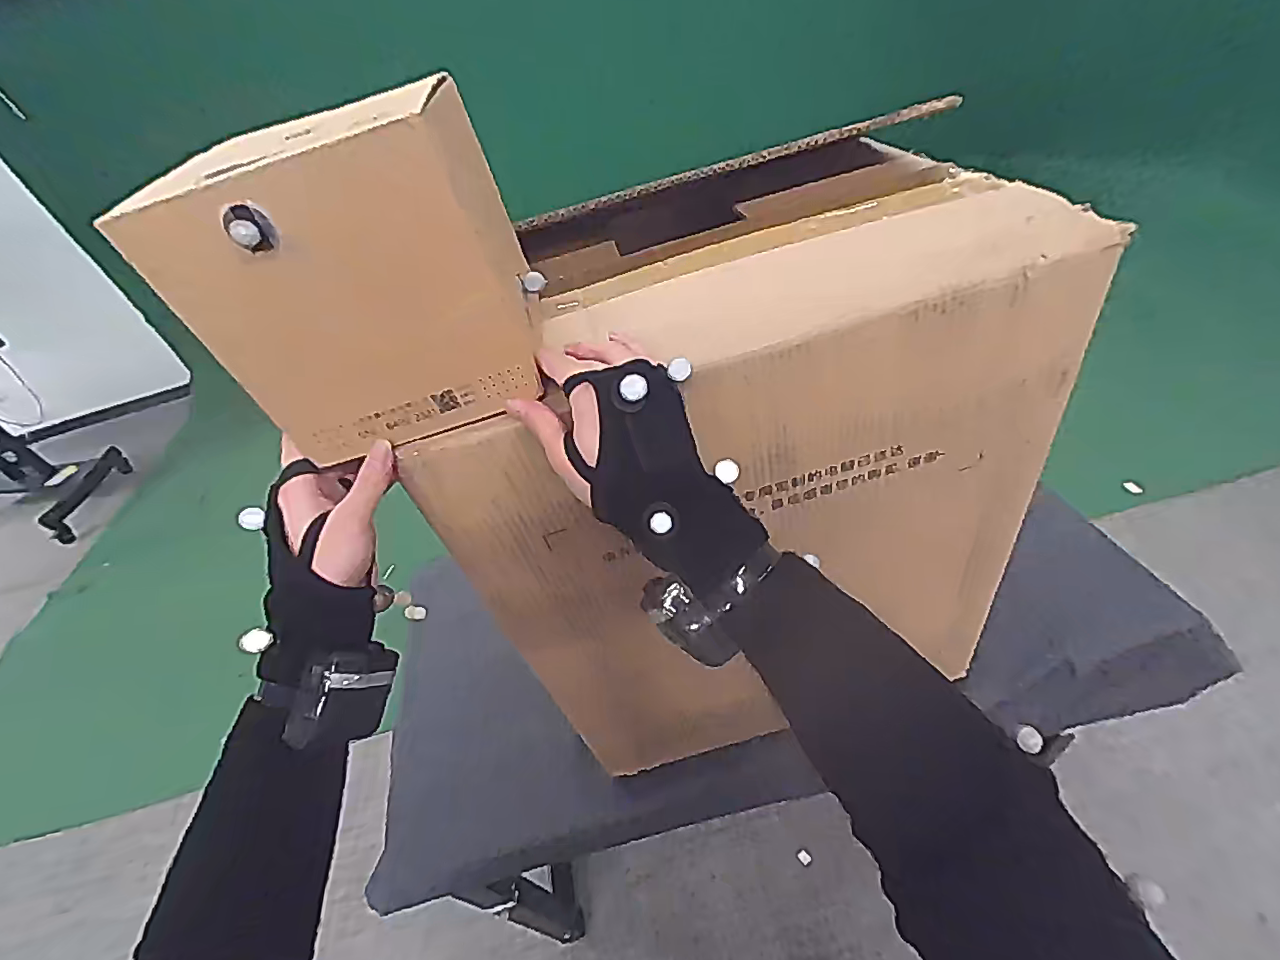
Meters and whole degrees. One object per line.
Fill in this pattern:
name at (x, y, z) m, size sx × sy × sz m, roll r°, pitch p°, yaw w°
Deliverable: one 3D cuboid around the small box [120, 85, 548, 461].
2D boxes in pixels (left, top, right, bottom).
small box at (-0.171, -0.143, 0.375) m, size 0.168 × 0.176 × 0.179 m, roll -18°, pitch 42°, yaw 3°
